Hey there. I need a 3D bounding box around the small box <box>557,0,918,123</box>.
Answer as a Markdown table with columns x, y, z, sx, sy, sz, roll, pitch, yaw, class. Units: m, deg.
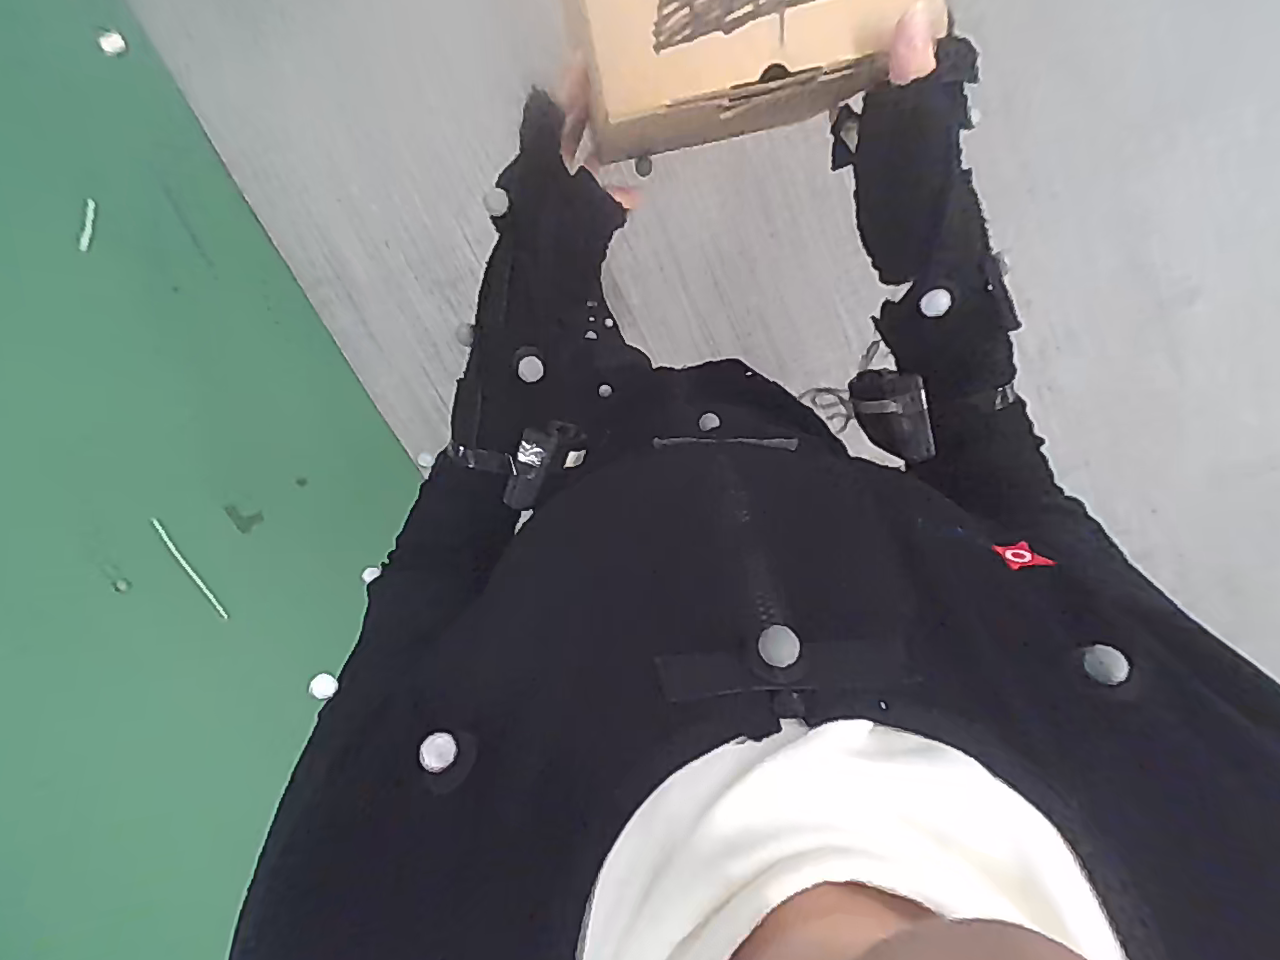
| x | y | z | sx | sy | sz | roll | pitch | yaw | class |
| --- | --- | --- | --- | --- | --- | --- | --- | --- | --- |
| 0.032 | -0.316 | 0.292 | 0.168 | 0.176 | 0.179 | -12 | 113 | -1 | small box |
